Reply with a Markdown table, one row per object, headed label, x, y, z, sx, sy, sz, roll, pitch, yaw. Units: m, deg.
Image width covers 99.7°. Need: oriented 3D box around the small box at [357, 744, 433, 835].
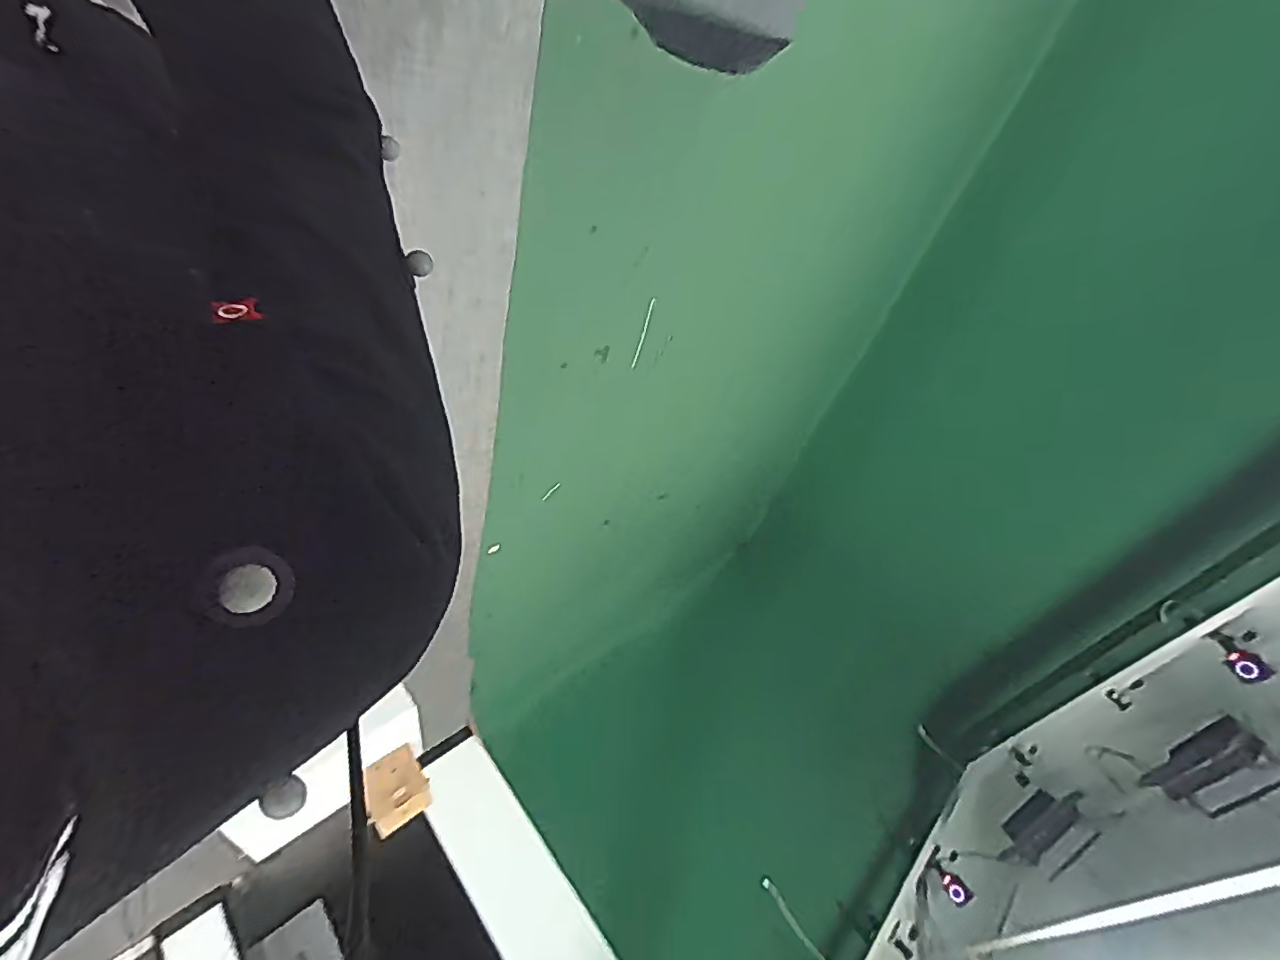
| label | x | y | z | sx | sy | sz | roll | pitch | yaw |
| --- | --- | --- | --- | --- | --- | --- | --- | --- | --- |
| small box | -0.785 | 0.990 | 1.738 | 0.168 | 0.176 | 0.179 | -25 | 145 | -35 |
